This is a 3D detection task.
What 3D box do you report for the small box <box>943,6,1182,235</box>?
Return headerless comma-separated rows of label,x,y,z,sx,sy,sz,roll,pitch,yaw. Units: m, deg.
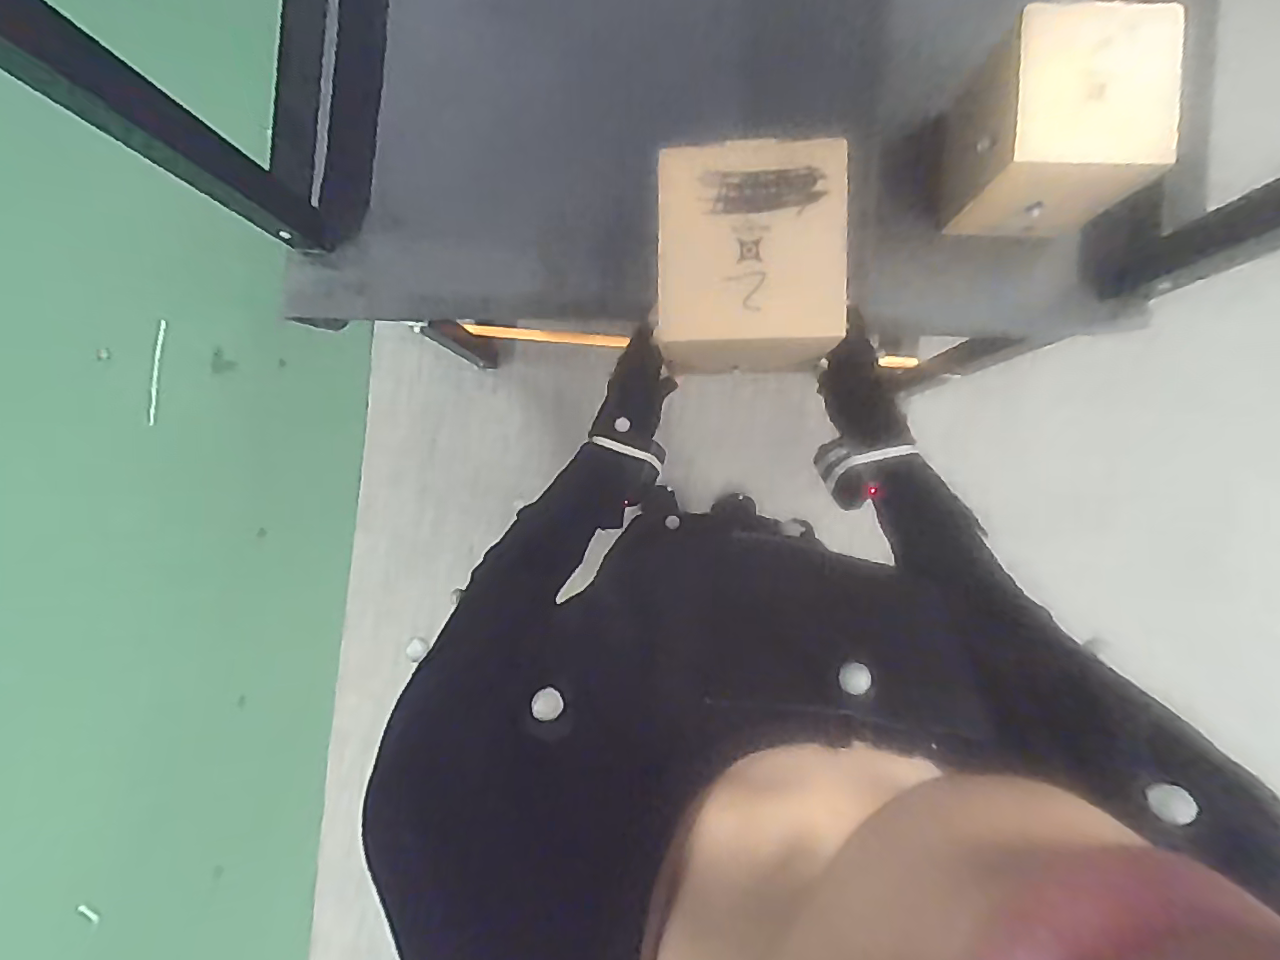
small box,0.494,-0.420,0.659,0.168,0.176,0.179,3,89,4
